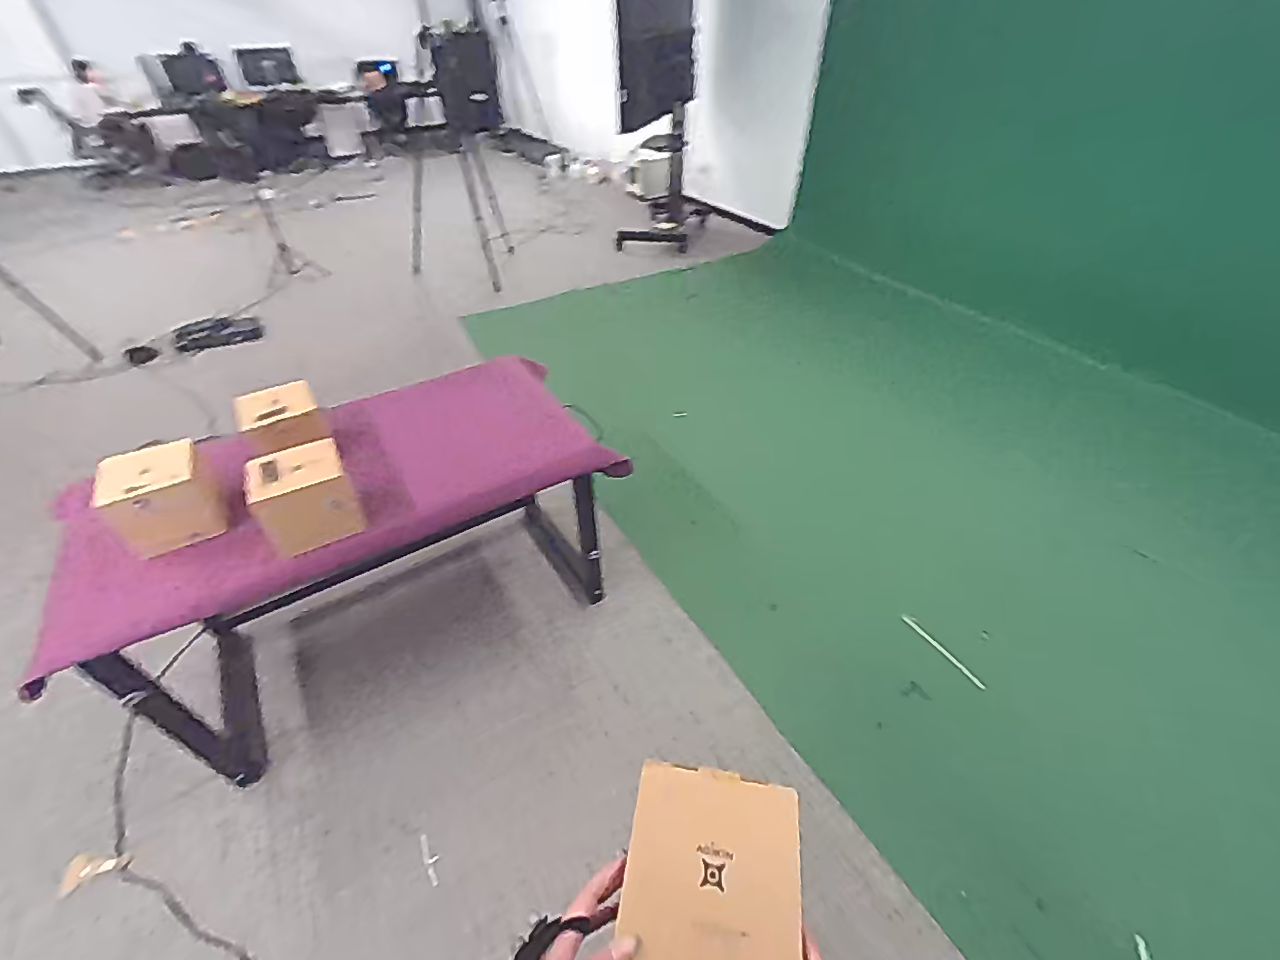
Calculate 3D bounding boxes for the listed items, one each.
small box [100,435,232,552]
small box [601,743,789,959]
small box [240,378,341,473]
[{"bbox_3d":[-1.063,0.030,1.229,0.168,0.176,0.179,-23,46,-22],"label":"small box"},{"bbox_3d":[0.056,0.412,0.571,0.168,0.176,0.179,8,44,6],"label":"small box"},{"bbox_3d":[-0.912,-0.137,1.420,0.168,0.176,0.179,-24,46,-24],"label":"small box"}]
